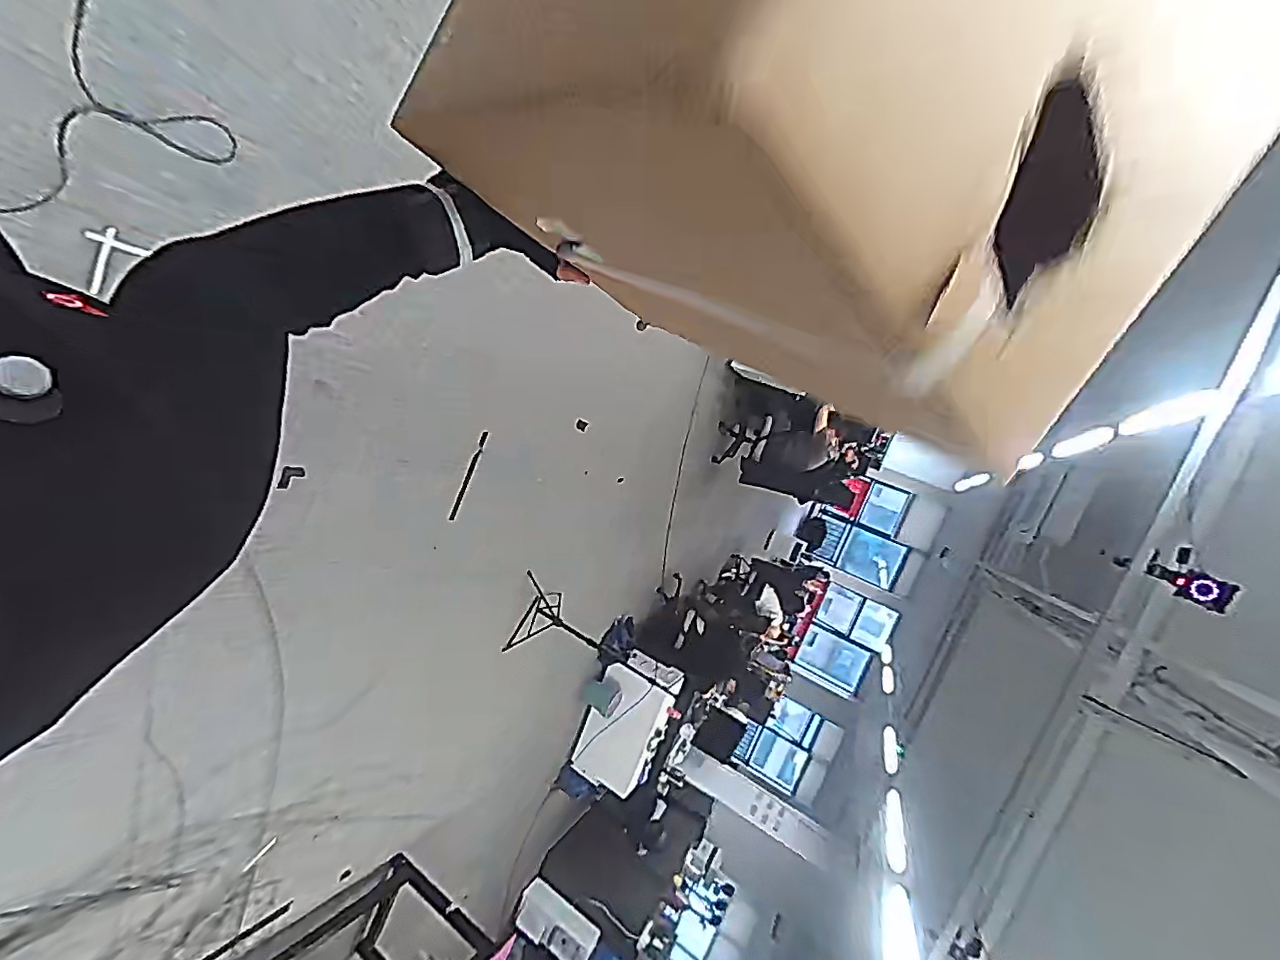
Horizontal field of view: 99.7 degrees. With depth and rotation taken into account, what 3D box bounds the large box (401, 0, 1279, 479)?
[{"bbox_3d":[0.092,-0.264,0.358,0.320,0.408,0.320,27,103,-44],"label":"large box"}]
